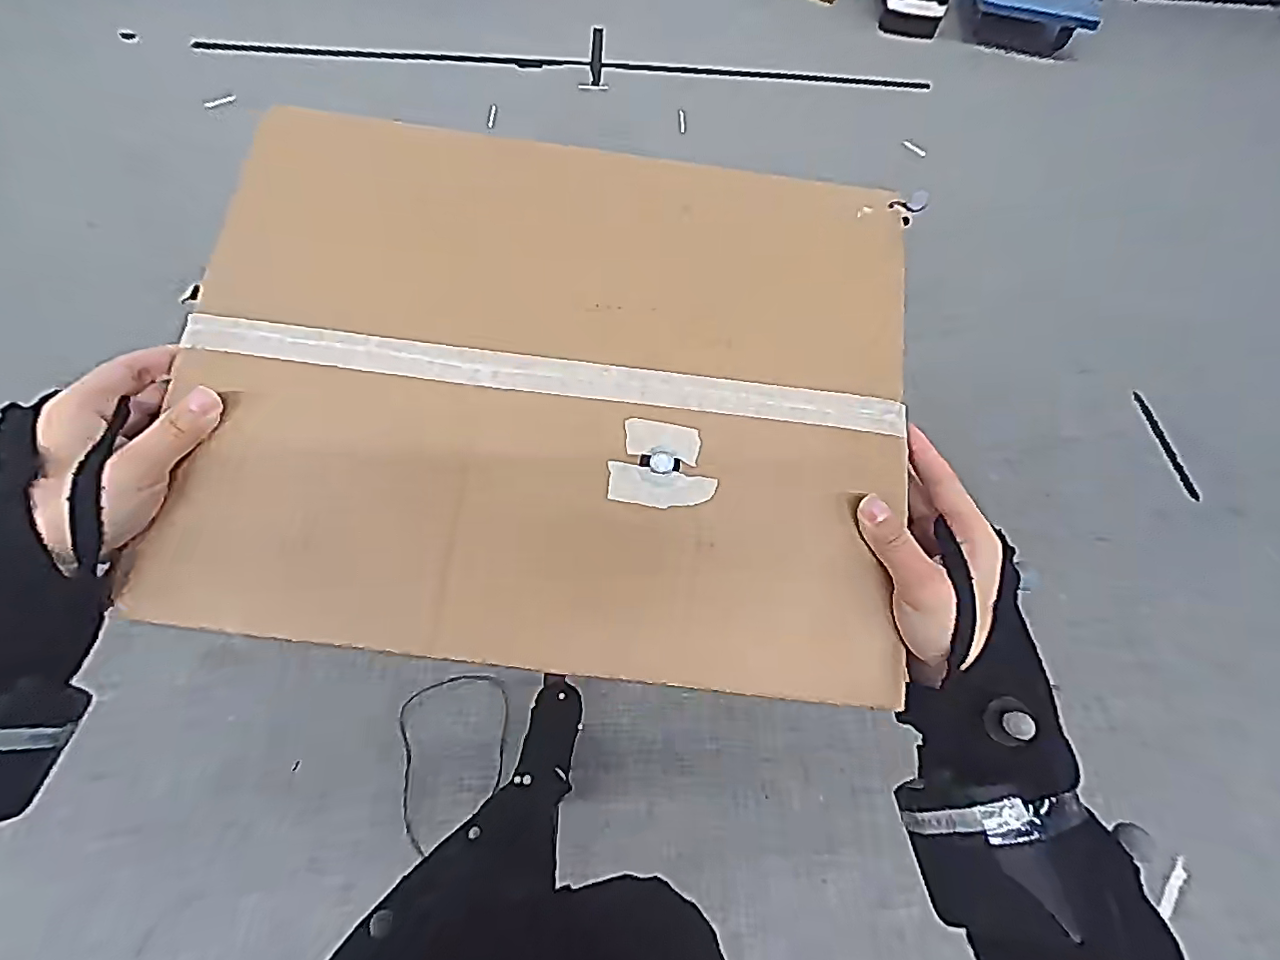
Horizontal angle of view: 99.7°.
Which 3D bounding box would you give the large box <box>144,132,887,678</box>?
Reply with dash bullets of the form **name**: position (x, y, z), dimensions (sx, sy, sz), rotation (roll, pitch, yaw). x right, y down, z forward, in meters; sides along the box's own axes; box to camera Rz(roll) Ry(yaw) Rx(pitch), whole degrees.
- **large box**: position (-0.058, -0.026, 0.467), dimensions (0.408, 0.320, 0.320), rotation (7, 77, -2)
